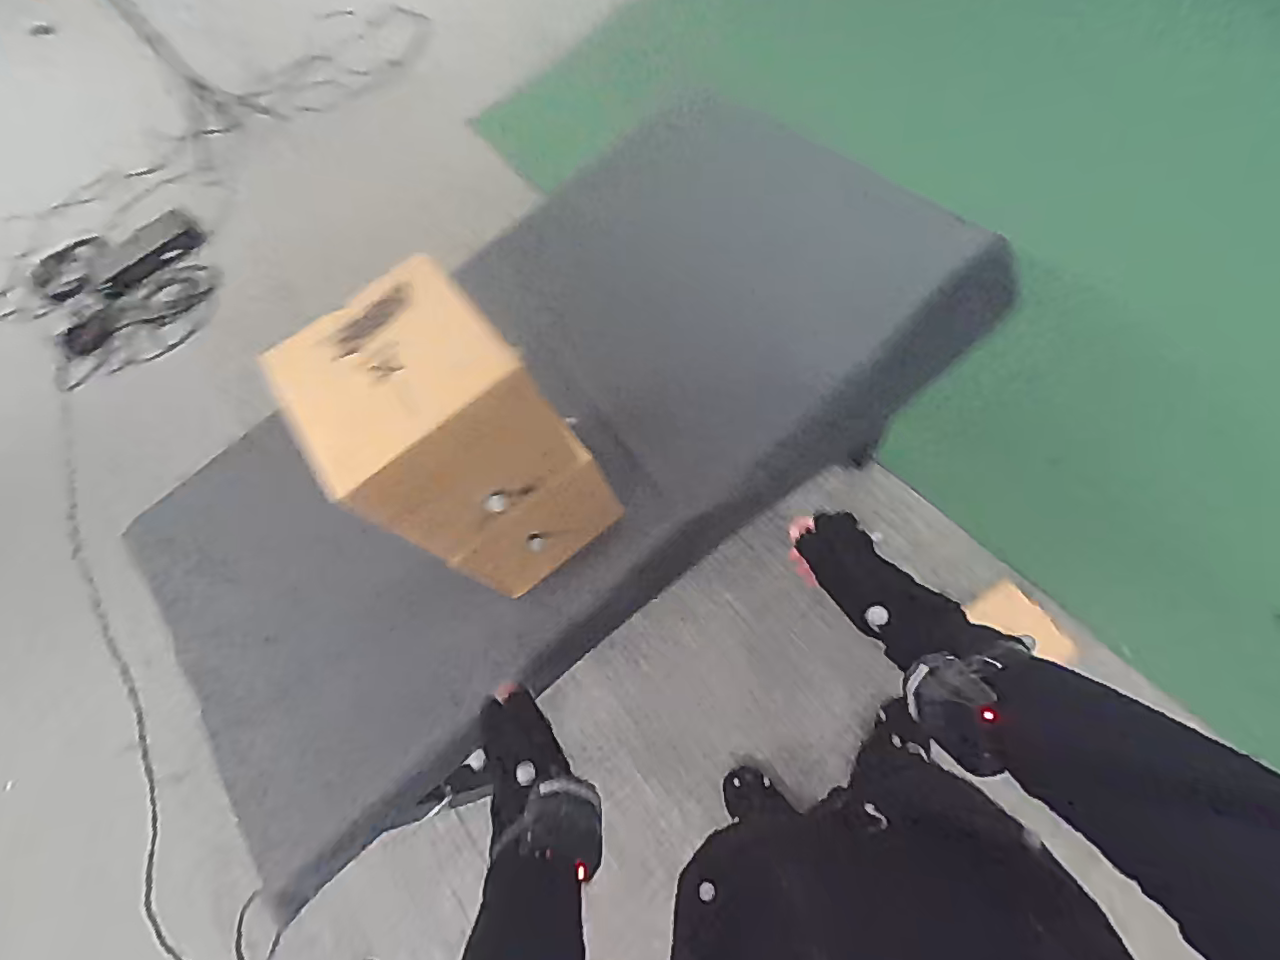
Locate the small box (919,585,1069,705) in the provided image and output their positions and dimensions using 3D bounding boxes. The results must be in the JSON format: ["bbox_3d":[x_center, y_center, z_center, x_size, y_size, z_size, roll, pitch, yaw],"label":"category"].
[{"bbox_3d":[0.722,0.347,1.129,0.179,0.176,0.168,-34,64,-2],"label":"small box"}]

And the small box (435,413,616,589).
[{"bbox_3d":[-0.153,0.006,0.646,0.179,0.176,0.168,-38,65,-6],"label":"small box"}]

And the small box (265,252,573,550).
[{"bbox_3d":[-0.189,-0.063,0.501,0.168,0.176,0.179,-38,65,-6],"label":"small box"}]
